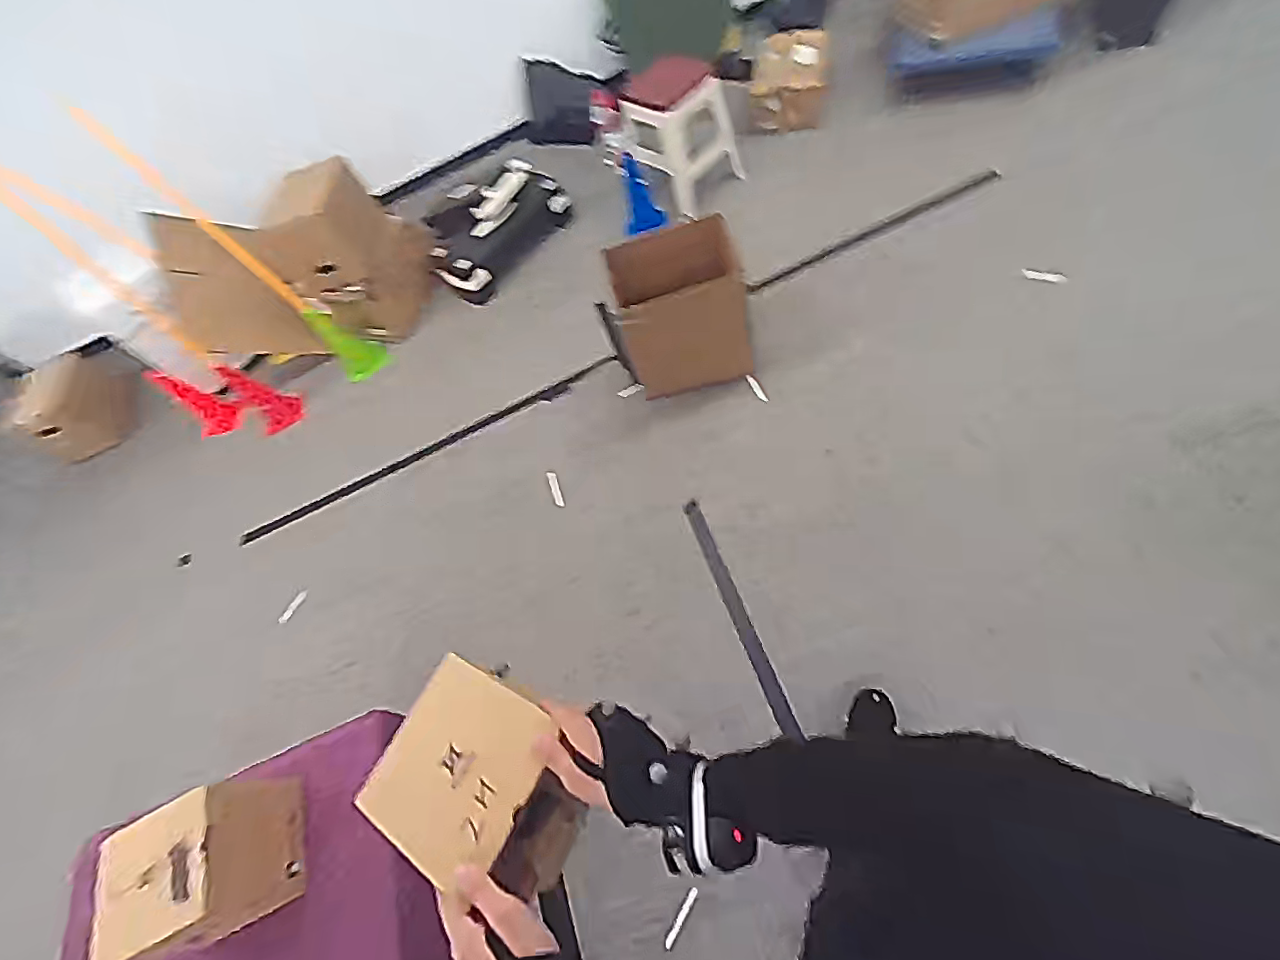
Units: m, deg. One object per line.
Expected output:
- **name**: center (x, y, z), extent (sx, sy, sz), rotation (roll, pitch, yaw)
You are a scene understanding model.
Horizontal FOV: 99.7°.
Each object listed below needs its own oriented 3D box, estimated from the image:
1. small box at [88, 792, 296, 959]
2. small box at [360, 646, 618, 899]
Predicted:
- **small box**: center (-0.634, 0.579, 0.787), extent (0.179, 0.176, 0.168), rotation (-30, 58, 1)
- **small box**: center (-0.151, 0.312, 0.596), extent (0.179, 0.176, 0.168), rotation (20, 68, 25)
